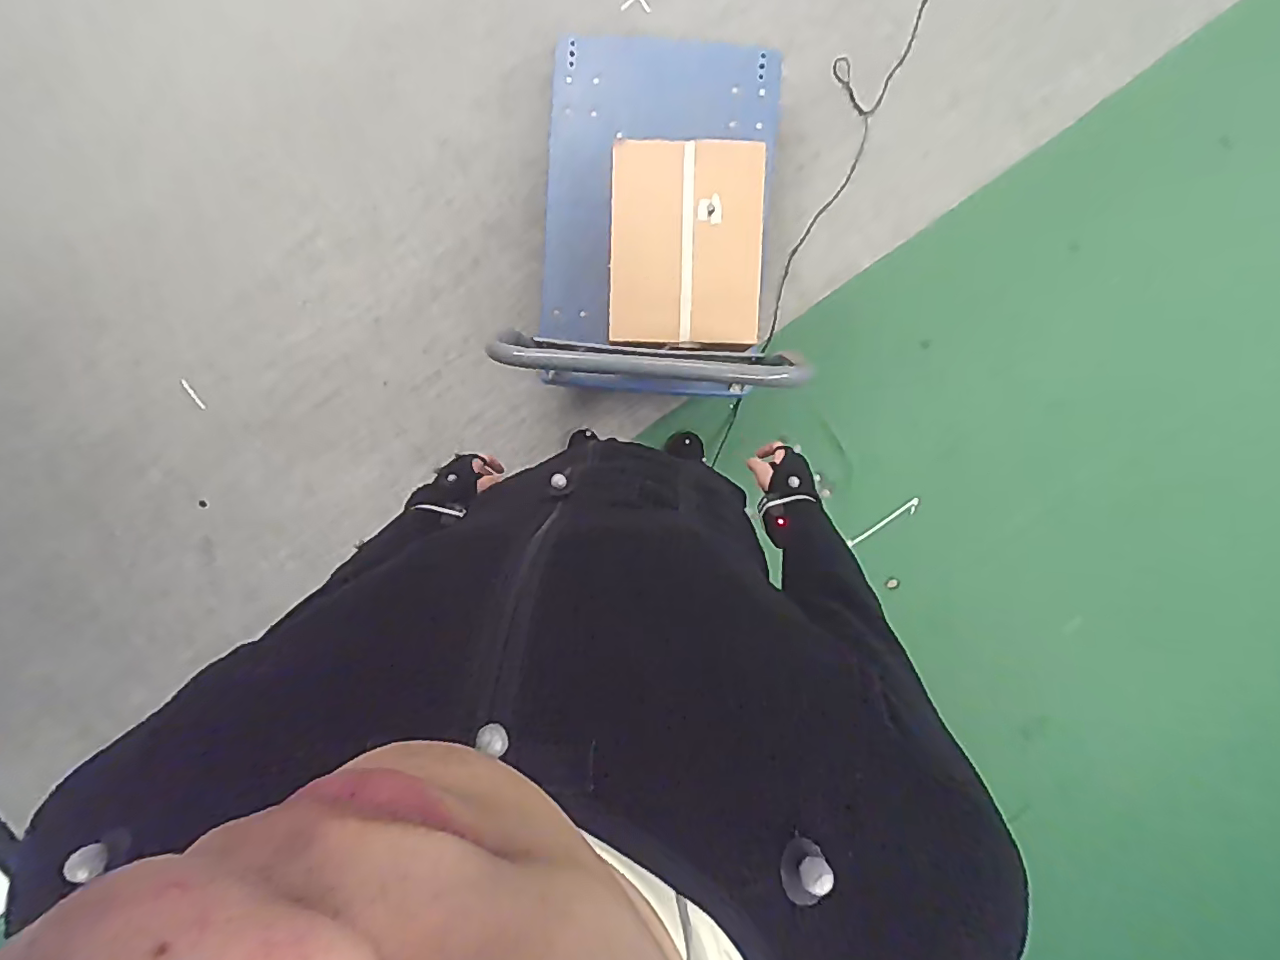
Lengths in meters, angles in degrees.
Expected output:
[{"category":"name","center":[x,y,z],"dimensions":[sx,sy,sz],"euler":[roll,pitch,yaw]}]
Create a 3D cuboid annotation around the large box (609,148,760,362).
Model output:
[{"category":"large box","center":[0.095,-0.500,1.286],"dimensions":[0.320,0.320,0.408],"euler":[2,95,0]}]
